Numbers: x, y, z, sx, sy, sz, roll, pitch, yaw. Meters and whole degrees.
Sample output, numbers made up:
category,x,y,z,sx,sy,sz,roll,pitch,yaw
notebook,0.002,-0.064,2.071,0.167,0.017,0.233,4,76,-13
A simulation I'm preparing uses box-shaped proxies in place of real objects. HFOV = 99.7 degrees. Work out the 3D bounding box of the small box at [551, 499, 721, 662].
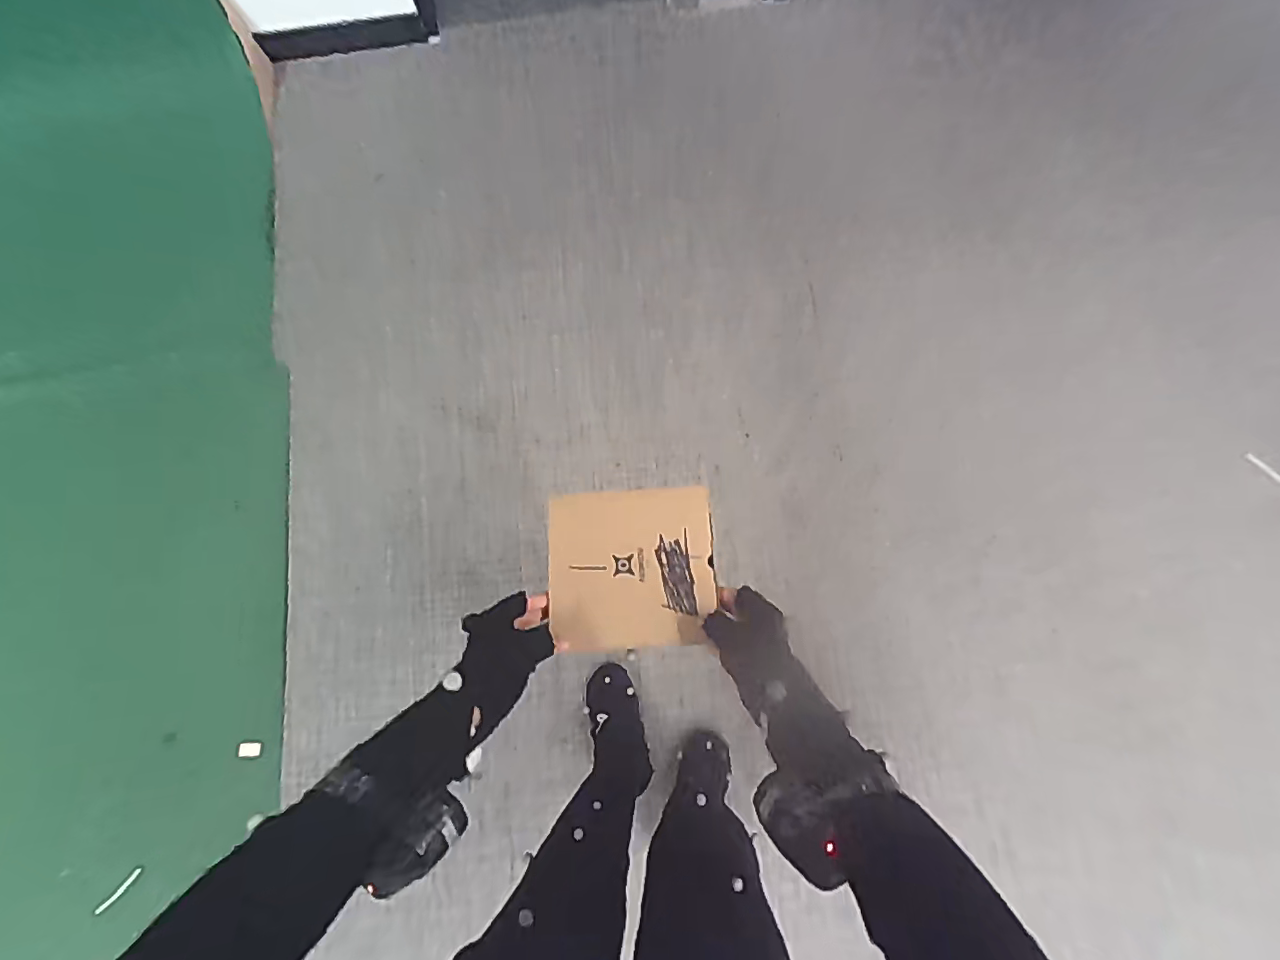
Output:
category,x,y,z,sx,sy,sz,roll,pitch,yaw
small box,-0.007,0.126,0.649,0.179,0.176,0.168,-4,72,1
